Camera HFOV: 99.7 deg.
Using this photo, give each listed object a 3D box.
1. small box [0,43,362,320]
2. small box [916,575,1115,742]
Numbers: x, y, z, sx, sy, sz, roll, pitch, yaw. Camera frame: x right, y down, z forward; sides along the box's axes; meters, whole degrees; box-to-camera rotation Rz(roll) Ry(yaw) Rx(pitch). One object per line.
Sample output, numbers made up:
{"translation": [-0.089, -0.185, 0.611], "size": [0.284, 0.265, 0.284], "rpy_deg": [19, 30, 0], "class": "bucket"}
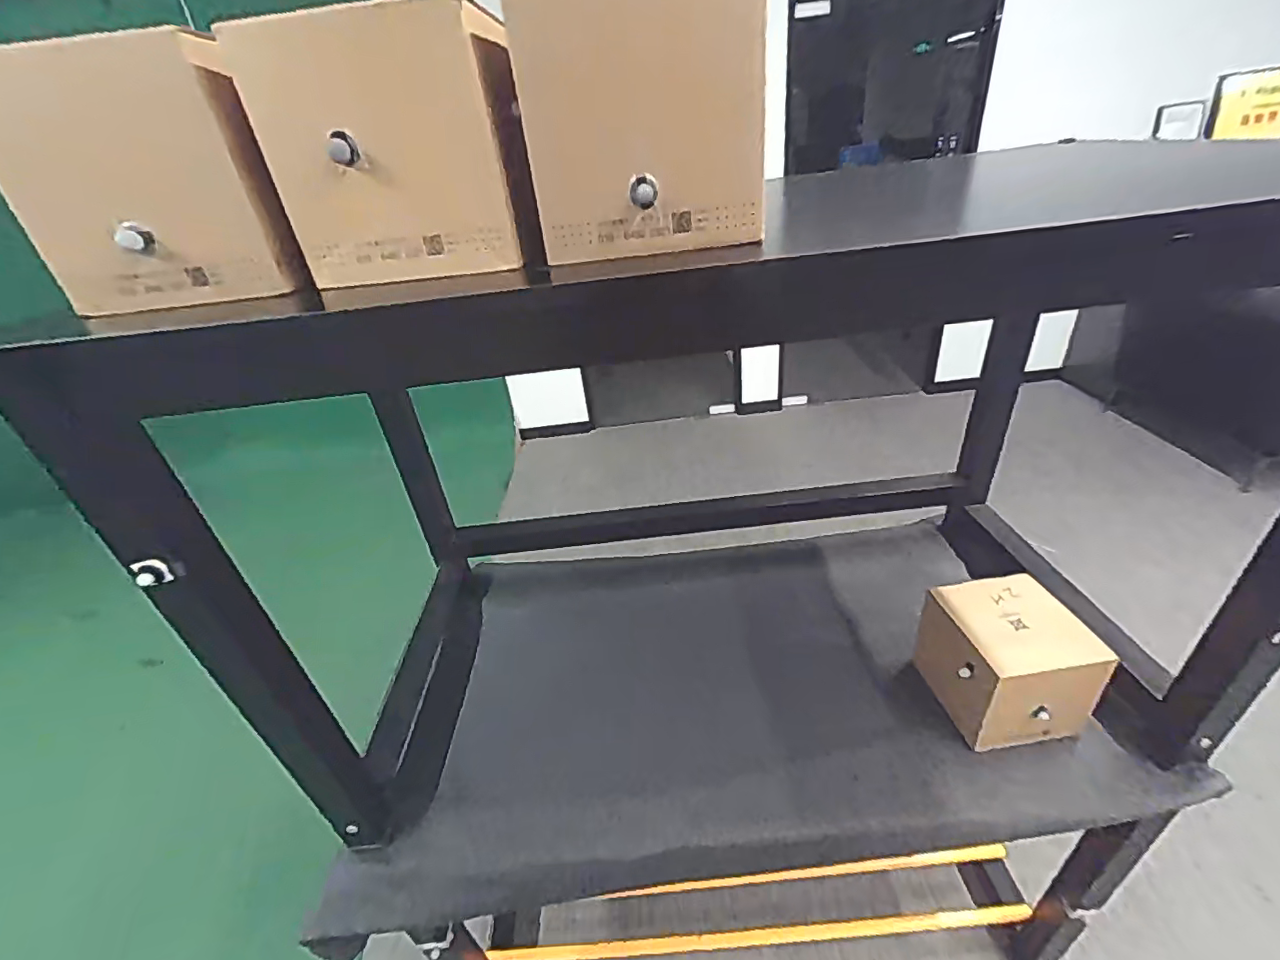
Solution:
{"translation": [-0.364, -0.244, 0.457], "size": [0.168, 0.176, 0.179], "rpy_deg": [-7, 33, 0], "class": "small box"}
{"translation": [0.552, 0.275, 0.826], "size": [0.168, 0.176, 0.179], "rpy_deg": [-8, 31, -2], "class": "small box"}
